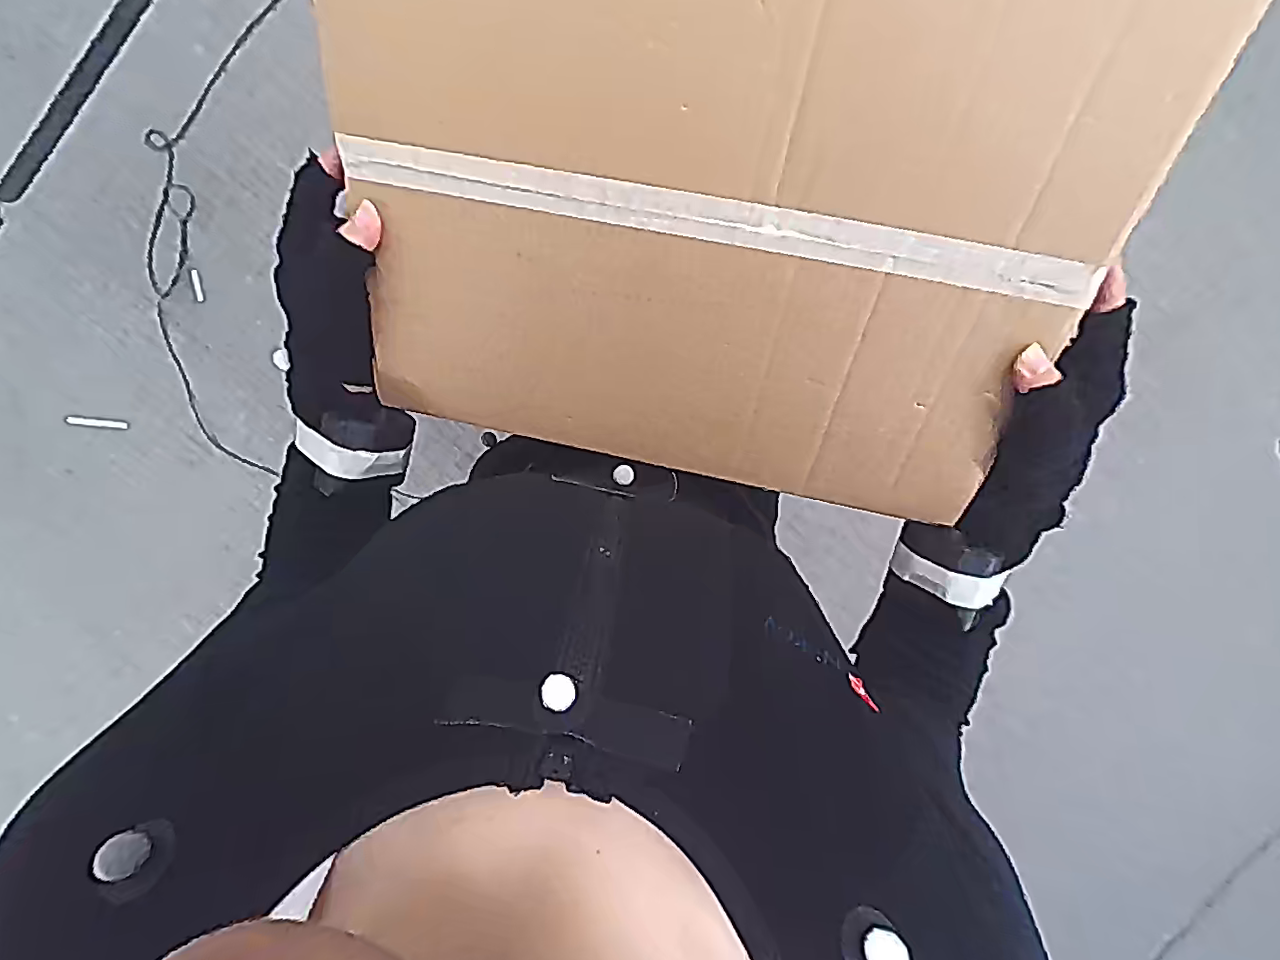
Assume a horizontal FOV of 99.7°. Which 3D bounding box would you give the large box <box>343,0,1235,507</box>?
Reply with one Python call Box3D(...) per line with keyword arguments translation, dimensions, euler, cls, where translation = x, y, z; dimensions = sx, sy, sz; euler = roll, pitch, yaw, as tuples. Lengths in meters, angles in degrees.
Box3D(translation=(0.059, -0.222, 0.422), dimensions=(0.408, 0.320, 0.320), euler=(12, 126, 4), cls="large box")
